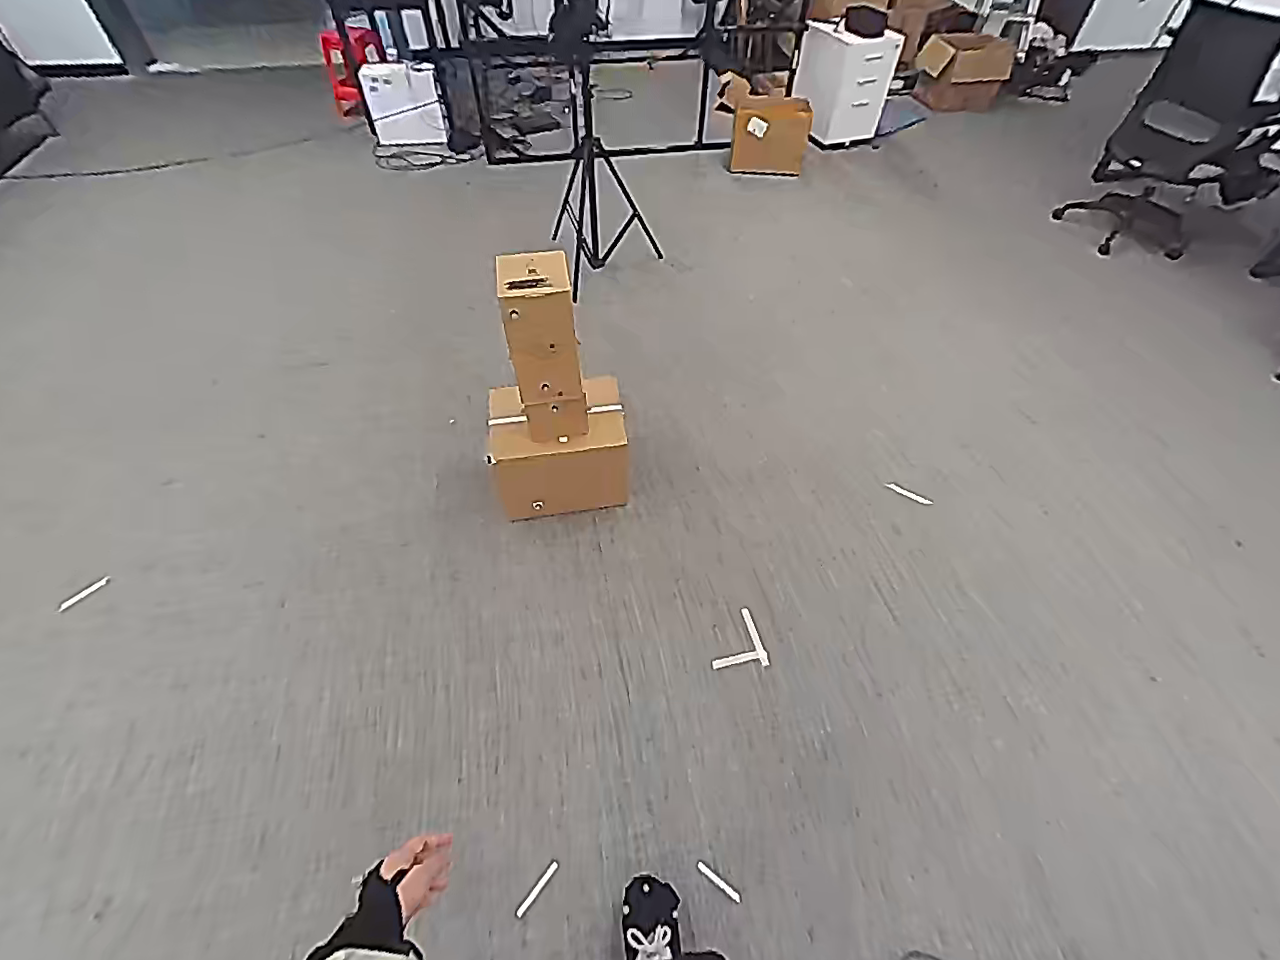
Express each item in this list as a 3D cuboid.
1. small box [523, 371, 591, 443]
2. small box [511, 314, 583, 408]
[{"bbox_3d":[-0.247,-0.225,1.588,0.179,0.176,0.168,-9,53,-9],"label":"small box"},{"bbox_3d":[-0.248,-0.319,1.455,0.168,0.176,0.179,-9,54,-7],"label":"small box"}]
